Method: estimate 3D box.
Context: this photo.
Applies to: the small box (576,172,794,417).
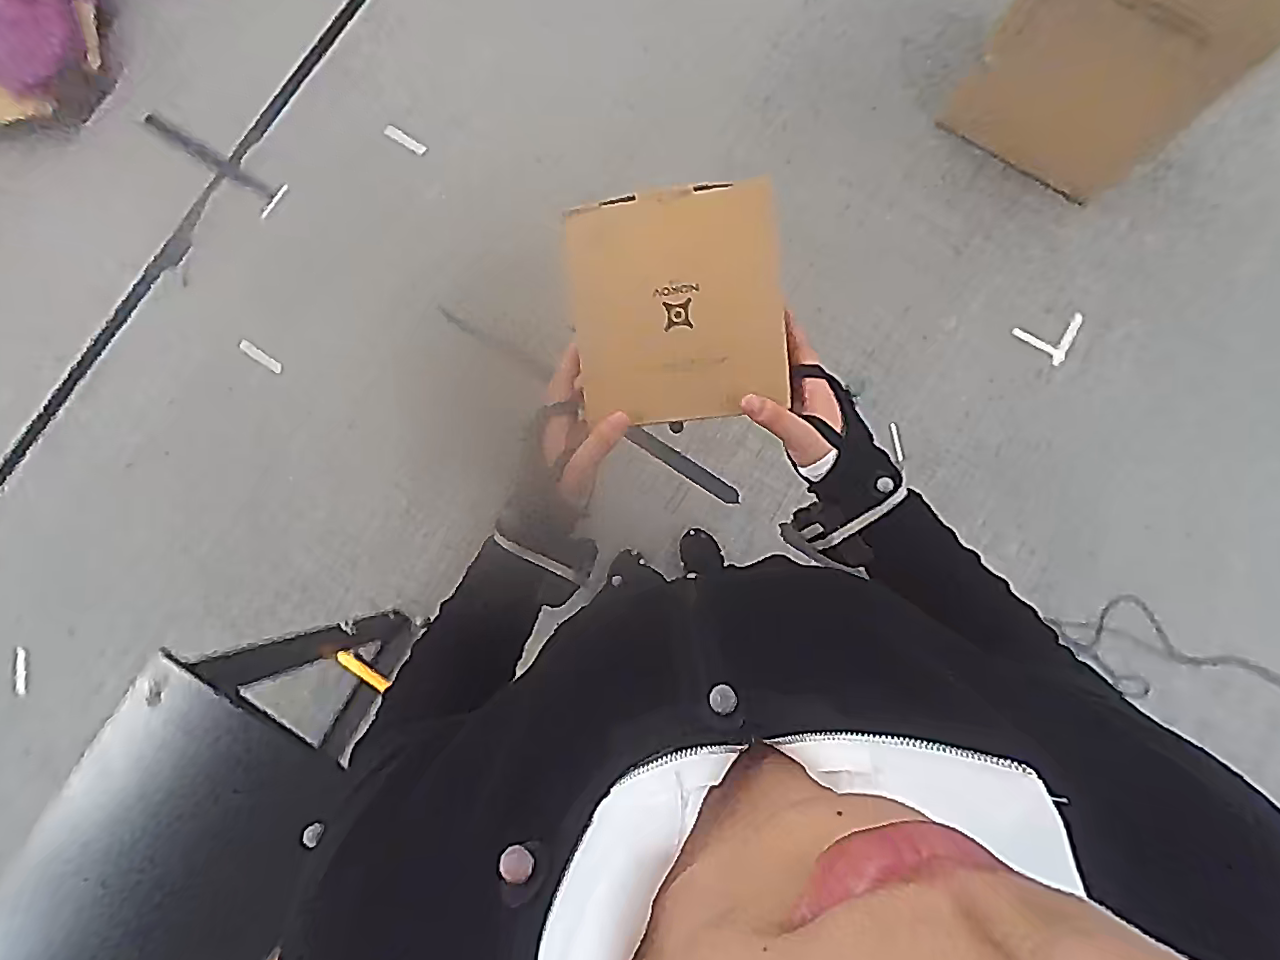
[{"bbox_3d":[0.042,-0.153,0.505,0.168,0.176,0.179,-4,99,6],"label":"small box"}]
